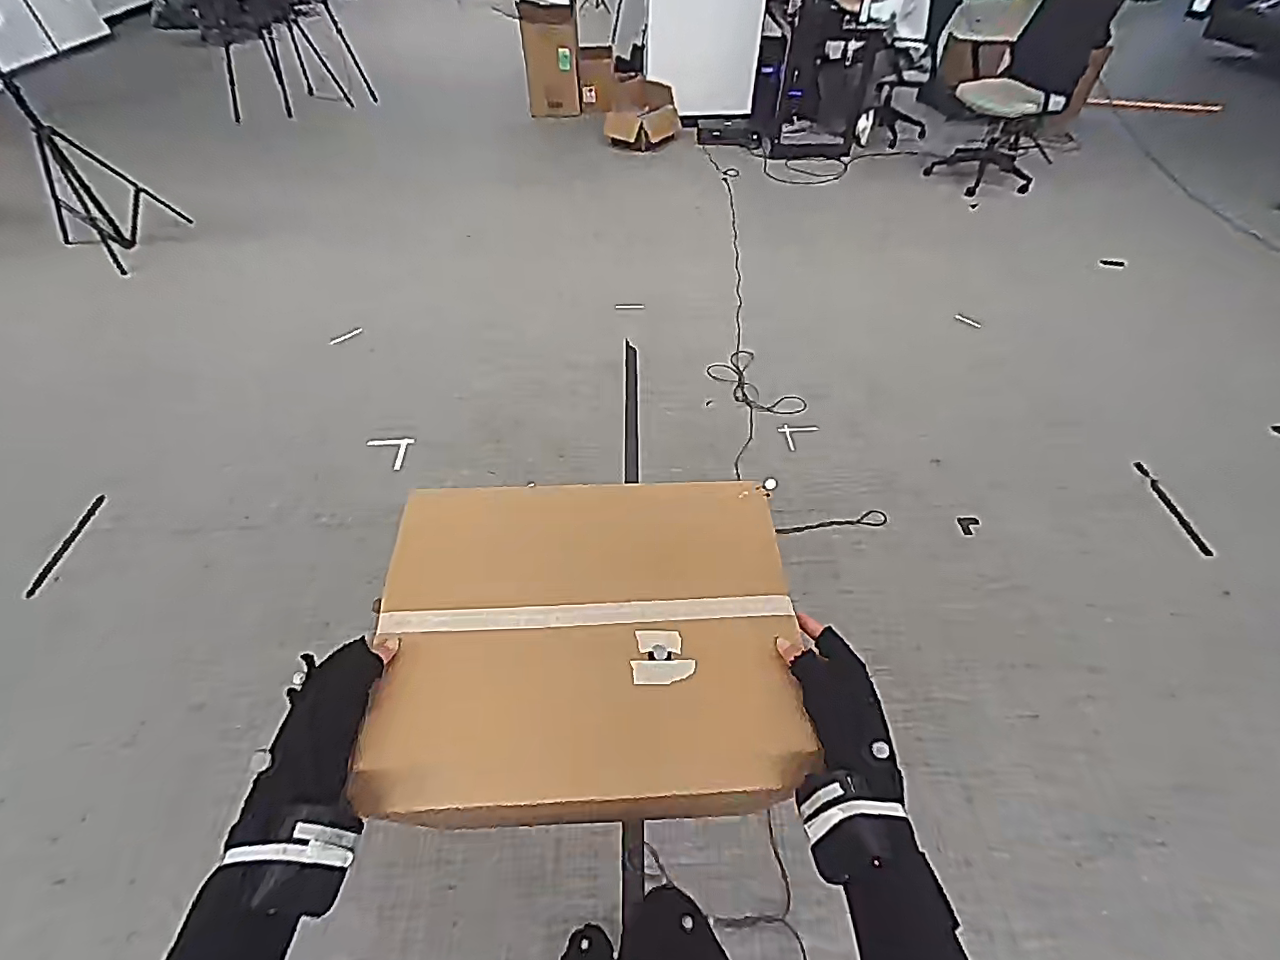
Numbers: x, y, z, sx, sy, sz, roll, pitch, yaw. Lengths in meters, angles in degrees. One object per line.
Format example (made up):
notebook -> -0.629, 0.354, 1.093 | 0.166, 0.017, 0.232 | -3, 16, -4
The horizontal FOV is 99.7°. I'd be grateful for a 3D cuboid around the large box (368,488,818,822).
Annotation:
large box -> -0.052, 0.225, 0.676 | 0.408, 0.320, 0.320 | -1, 56, -4
